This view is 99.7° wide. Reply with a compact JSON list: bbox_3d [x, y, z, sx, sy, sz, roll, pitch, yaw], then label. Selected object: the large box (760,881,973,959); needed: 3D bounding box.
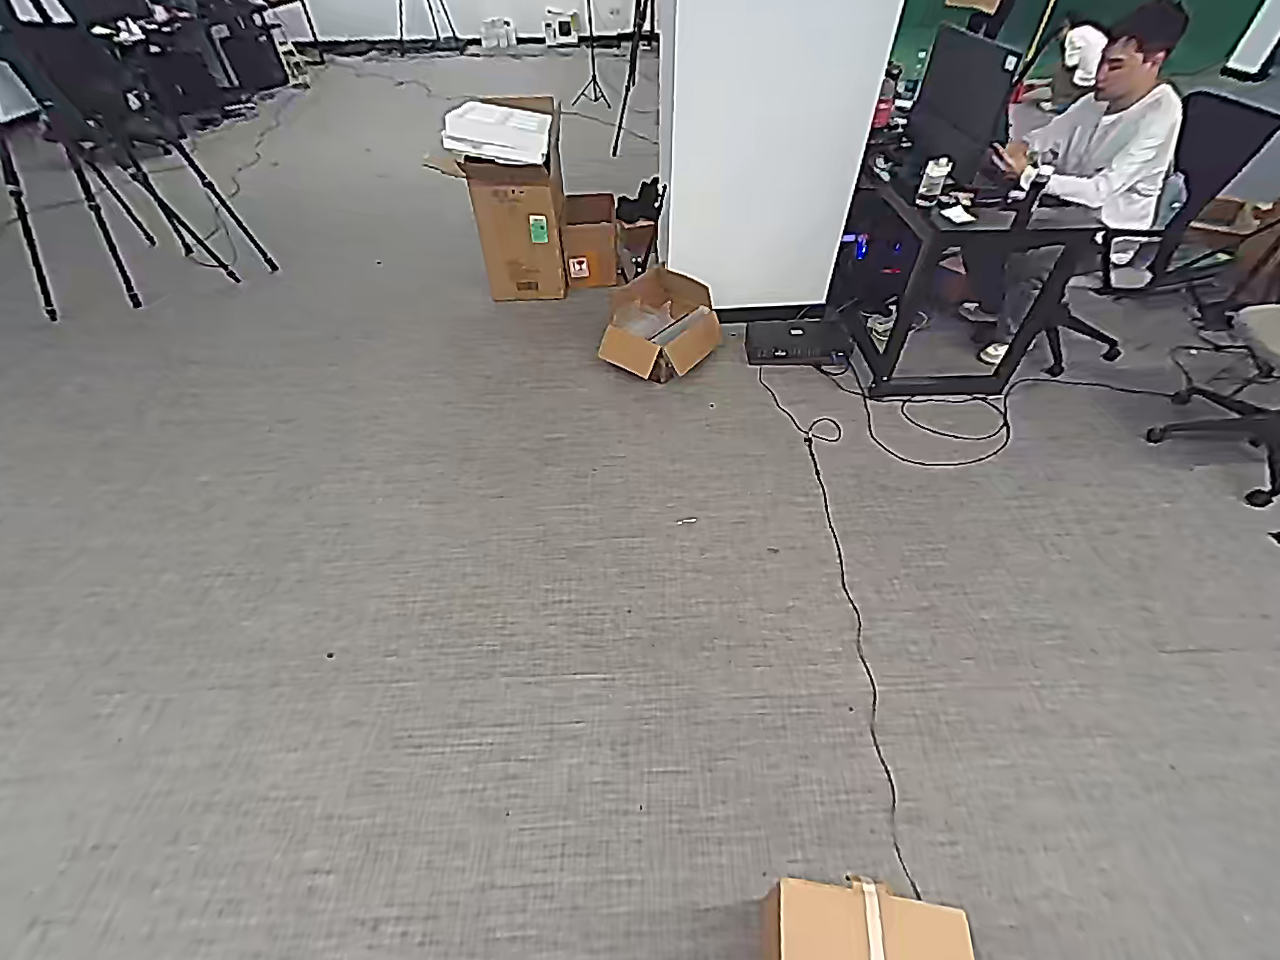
[{"bbox_3d":[0.384,0.980,0.936,0.320,0.320,0.408,5,48,9],"label":"large box"}]
